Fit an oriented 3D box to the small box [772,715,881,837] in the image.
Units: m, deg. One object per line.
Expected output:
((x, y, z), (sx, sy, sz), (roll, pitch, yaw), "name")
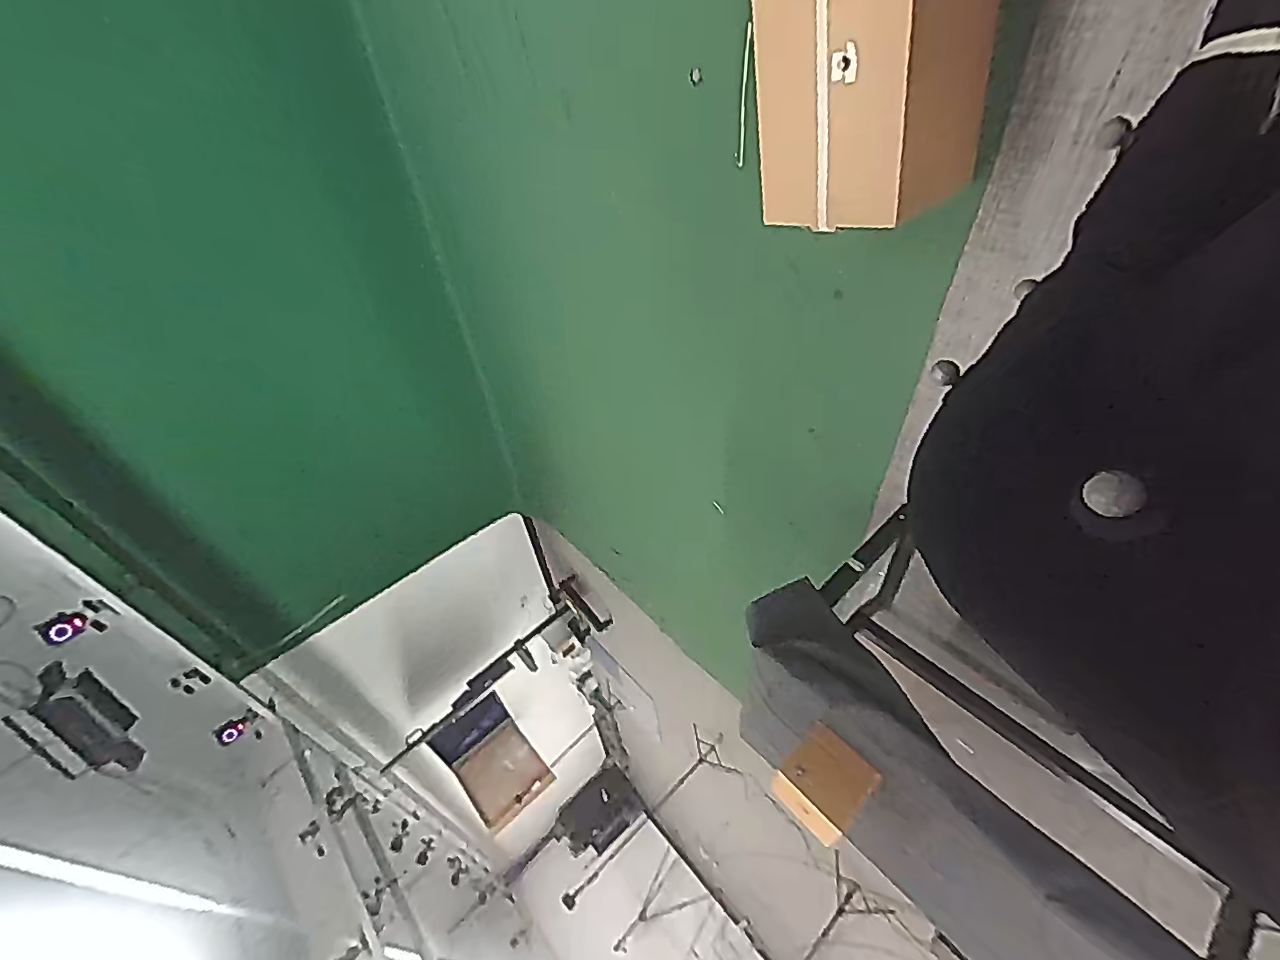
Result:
((0.450, 0.715, 1.313), (0.179, 0.176, 0.168), (38, 150, 32), "small box")
